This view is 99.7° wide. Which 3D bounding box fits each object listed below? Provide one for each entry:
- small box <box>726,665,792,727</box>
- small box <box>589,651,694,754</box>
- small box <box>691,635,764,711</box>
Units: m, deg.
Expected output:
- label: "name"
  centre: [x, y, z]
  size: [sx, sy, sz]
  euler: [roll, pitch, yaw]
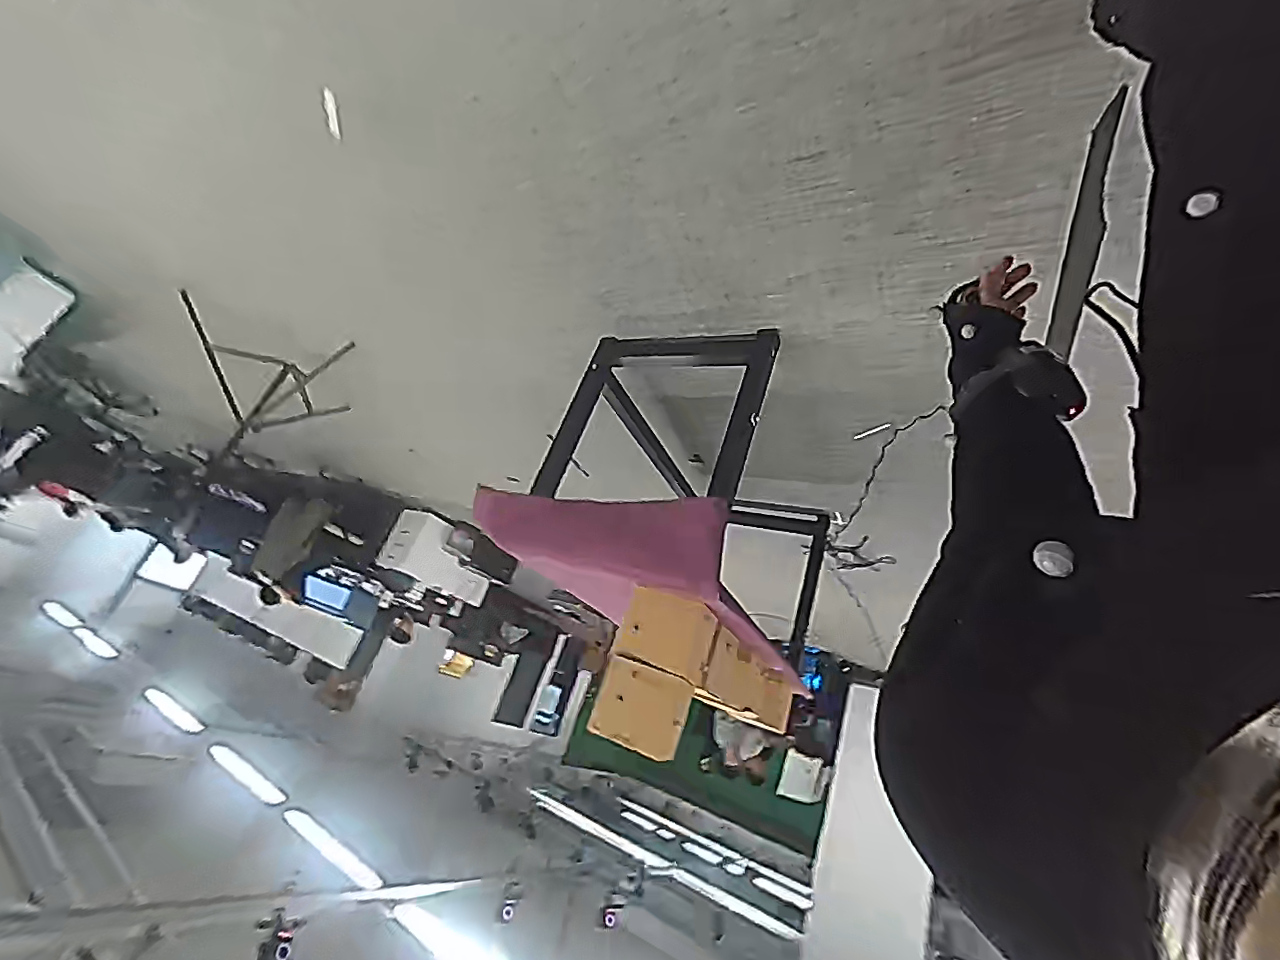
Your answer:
- label: "small box"
  centre: [0.425, 0.748, 1.906]
  size: [0.168, 0.176, 0.179]
  euler: [5, 154, 33]
- label: "small box"
  centre: [0.011, 0.493, 1.208]
  size: [0.168, 0.176, 0.179]
  euler: [14, 159, 21]
- label: "small box"
  centre: [0.270, 0.592, 1.665]
  size: [0.179, 0.176, 0.168]
  euler: [6, 154, 34]
